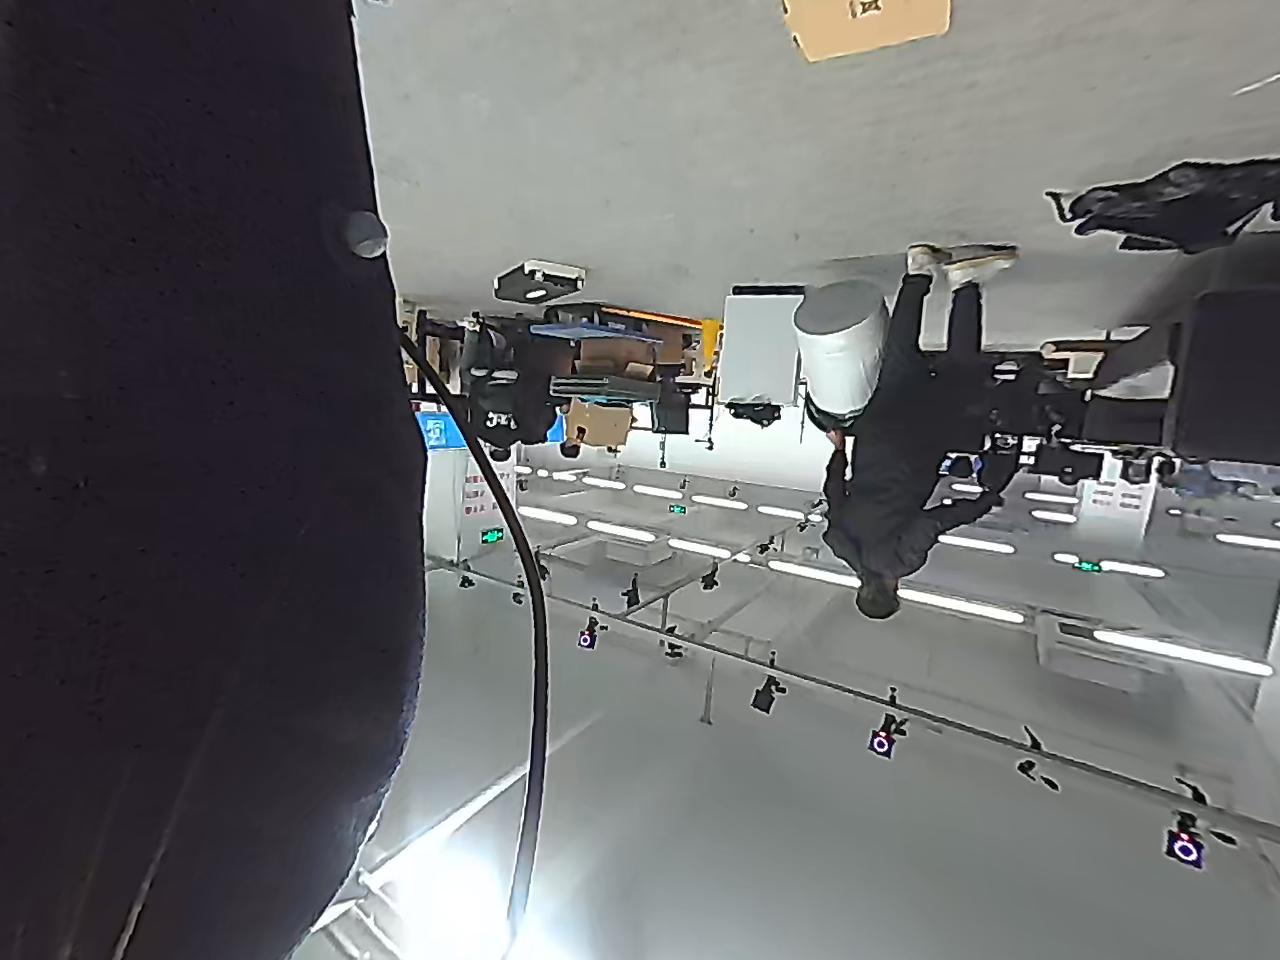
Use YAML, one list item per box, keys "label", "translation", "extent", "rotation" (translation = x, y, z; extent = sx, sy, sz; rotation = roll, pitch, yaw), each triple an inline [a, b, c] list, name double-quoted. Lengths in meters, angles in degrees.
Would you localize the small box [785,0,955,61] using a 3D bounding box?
- label: "small box"
  translation: [0.265, -0.622, 0.601]
  extent: [0.179, 0.176, 0.168]
  rotation: [7, -169, 27]
